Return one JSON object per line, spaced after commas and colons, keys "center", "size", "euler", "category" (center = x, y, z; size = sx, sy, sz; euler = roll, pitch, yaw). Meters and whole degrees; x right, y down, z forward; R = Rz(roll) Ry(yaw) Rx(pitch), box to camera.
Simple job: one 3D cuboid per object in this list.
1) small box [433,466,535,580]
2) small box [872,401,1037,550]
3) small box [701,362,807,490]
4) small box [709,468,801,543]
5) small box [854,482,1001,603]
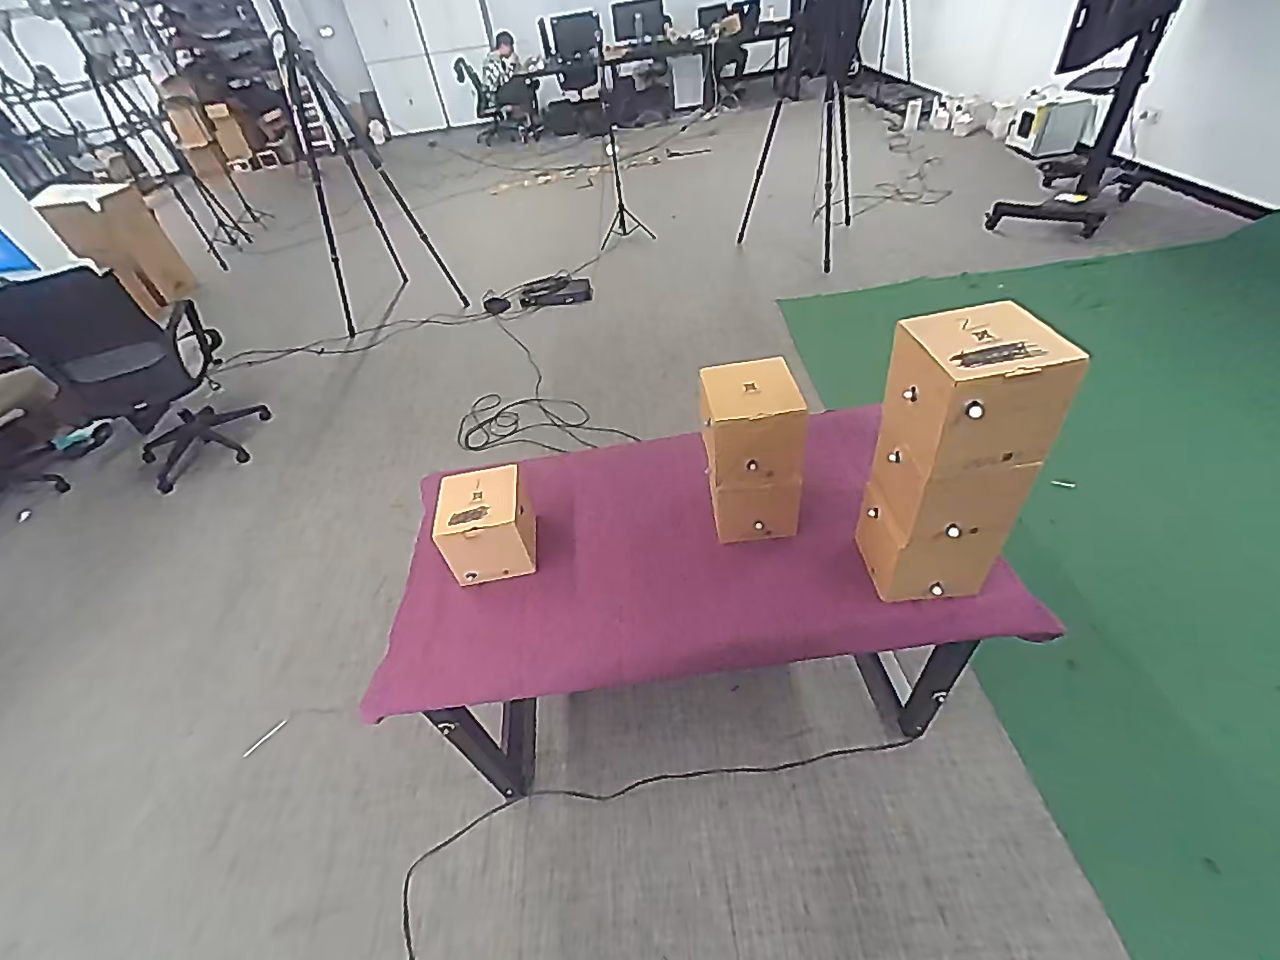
{"center": [-0.325, 0.099, 1.165], "size": [0.168, 0.176, 0.179], "euler": [-10, 43, -2], "category": "small box"}
{"center": [0.503, -0.007, 0.901], "size": [0.168, 0.176, 0.179], "euler": [-7, 43, 5], "category": "small box"}
{"center": [0.212, -0.105, 1.054], "size": [0.168, 0.176, 0.179], "euler": [-8, 45, 1], "category": "small box"}
{"center": [0.238, 0.014, 1.162], "size": [0.168, 0.176, 0.179], "euler": [-6, 44, 4], "category": "small box"}
{"center": [0.522, 0.112, 1.010], "size": [0.179, 0.176, 0.168], "euler": [-6, 43, 4], "category": "small box"}
